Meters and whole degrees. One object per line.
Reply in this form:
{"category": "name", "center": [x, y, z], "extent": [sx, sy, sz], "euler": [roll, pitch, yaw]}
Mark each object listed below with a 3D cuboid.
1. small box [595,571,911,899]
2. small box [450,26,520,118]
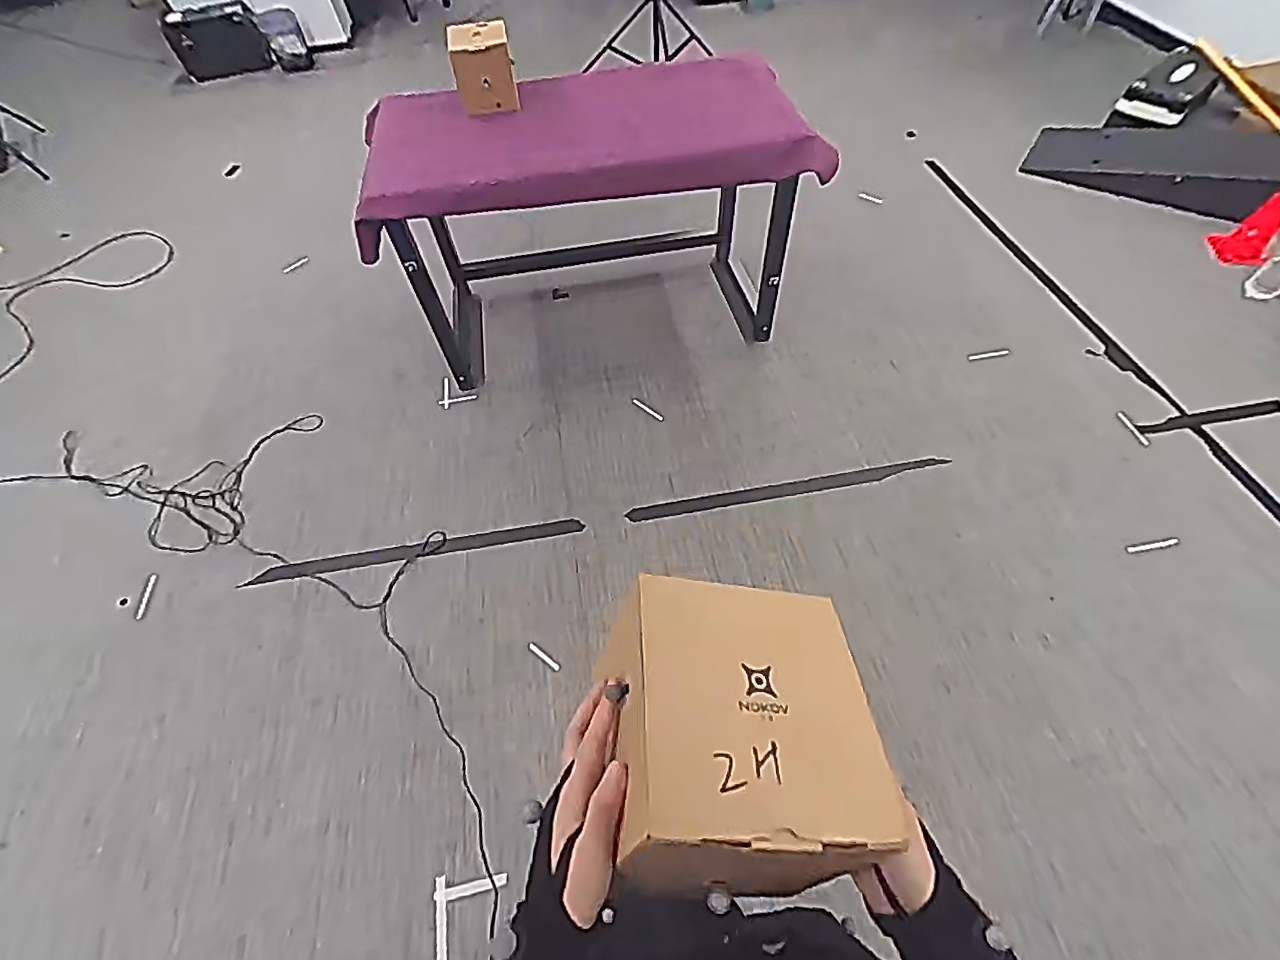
{"category": "small box", "center": [0.061, 0.198, 0.421], "extent": [0.168, 0.176, 0.179], "euler": [9, 42, -11]}
{"category": "small box", "center": [-0.459, -1.208, 1.612], "extent": [0.168, 0.176, 0.179], "euler": [-10, 59, -4]}
